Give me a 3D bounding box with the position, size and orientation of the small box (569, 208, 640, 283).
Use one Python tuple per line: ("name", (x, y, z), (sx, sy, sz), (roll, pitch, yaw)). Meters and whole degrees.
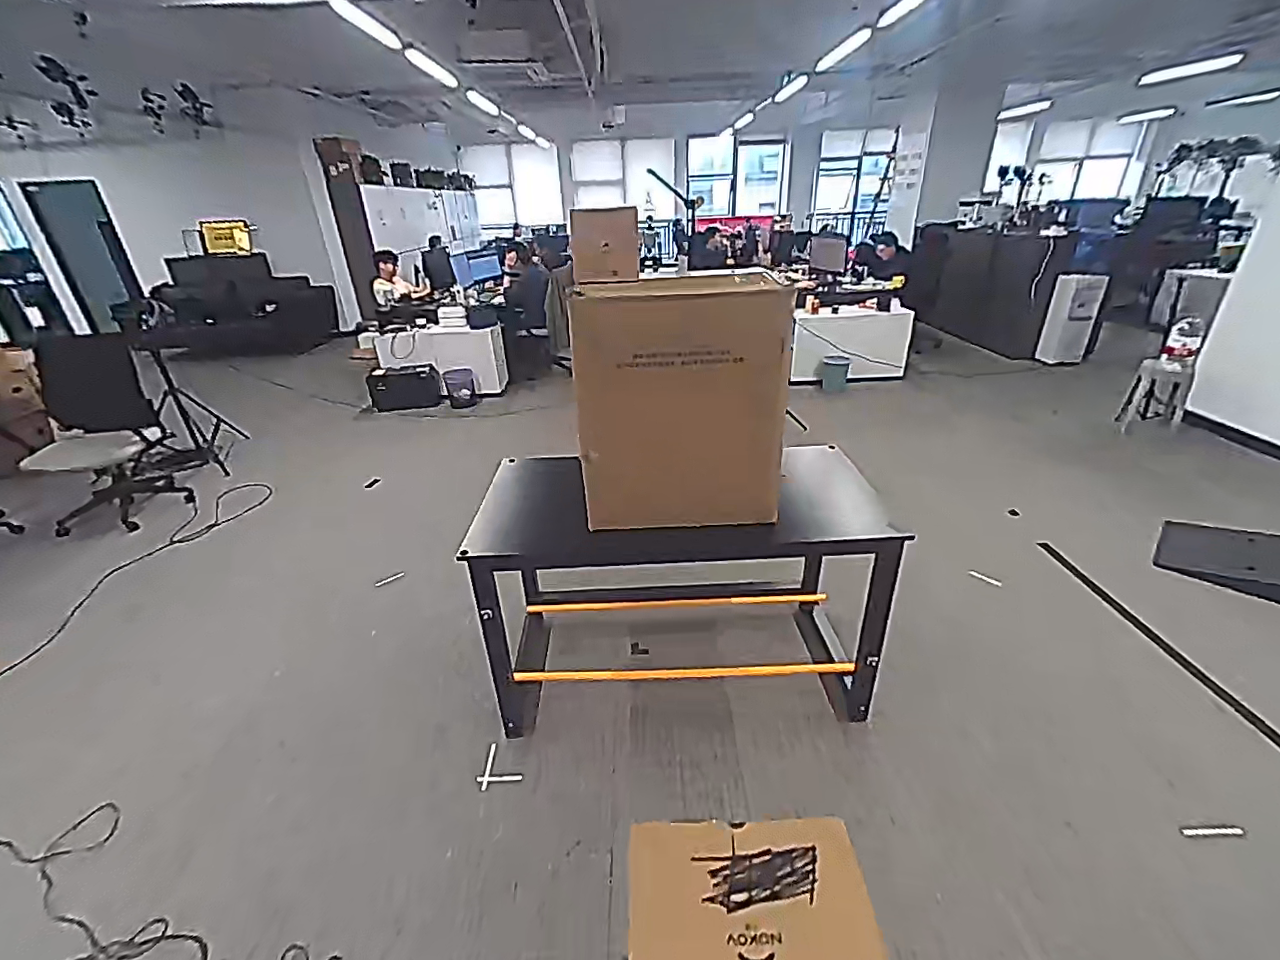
("small box", (-0.090, -0.601, 1.390), (0.168, 0.176, 0.179), (-3, 26, -3))
